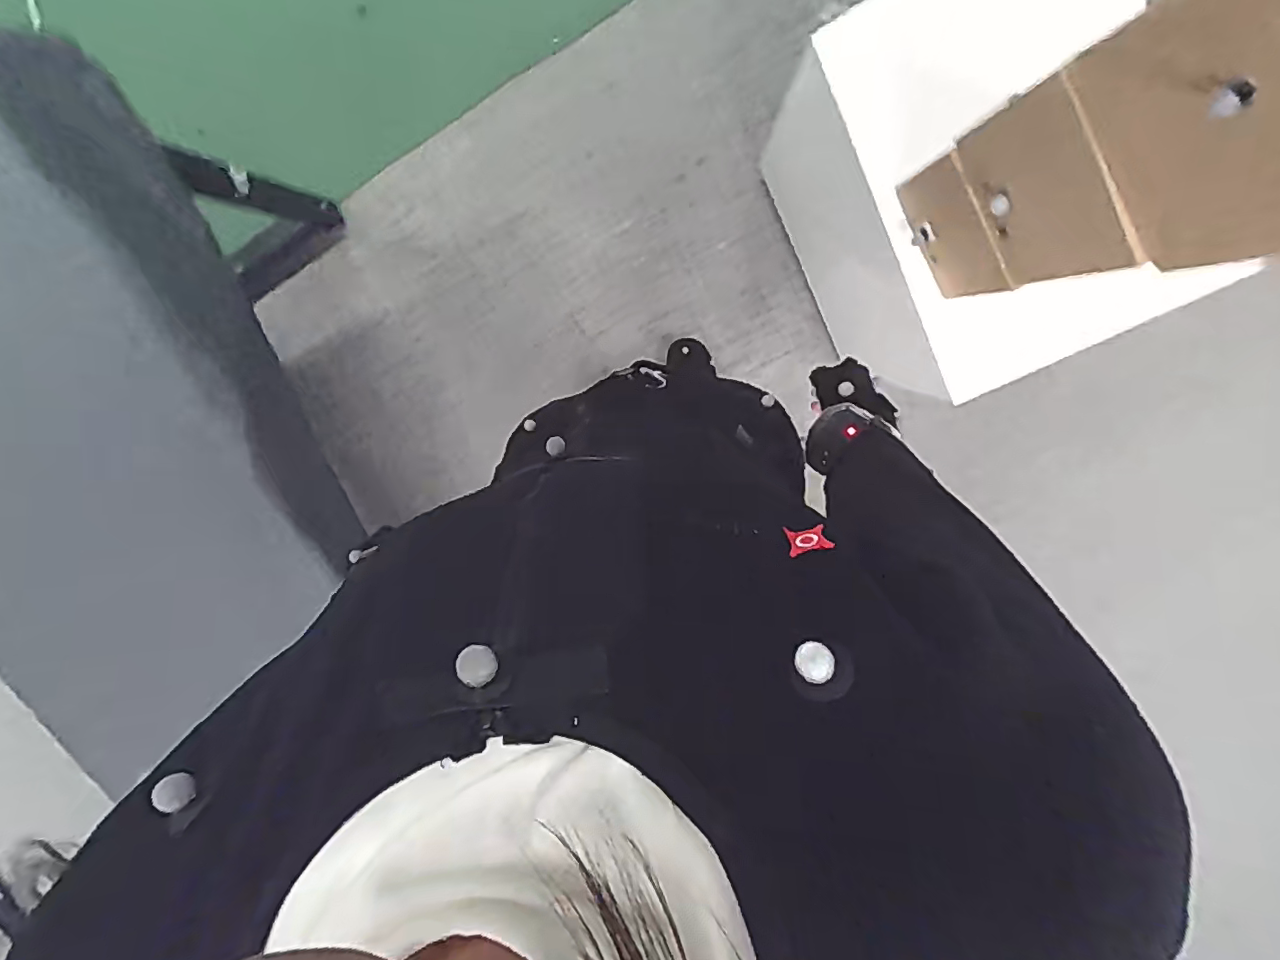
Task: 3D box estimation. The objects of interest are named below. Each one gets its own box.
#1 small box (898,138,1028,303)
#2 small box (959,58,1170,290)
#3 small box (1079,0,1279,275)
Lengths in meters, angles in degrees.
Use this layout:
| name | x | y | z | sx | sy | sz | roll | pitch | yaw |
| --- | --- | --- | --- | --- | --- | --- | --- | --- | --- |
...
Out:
| name | x | y | z | sx | sy | sz | roll | pitch | yaw |
| --- | --- | --- | --- | --- | --- | --- | --- | --- | --- |
| small box | 0.430 | -0.319 | 0.610 | 0.179 | 0.176 | 0.168 | -29 | 100 | 14 |
| small box | 0.417 | -0.281 | 0.451 | 0.179 | 0.176 | 0.168 | -32 | 100 | 12 |
| small box | 0.399 | -0.237 | 0.295 | 0.168 | 0.176 | 0.179 | -31 | 99 | 13 |
